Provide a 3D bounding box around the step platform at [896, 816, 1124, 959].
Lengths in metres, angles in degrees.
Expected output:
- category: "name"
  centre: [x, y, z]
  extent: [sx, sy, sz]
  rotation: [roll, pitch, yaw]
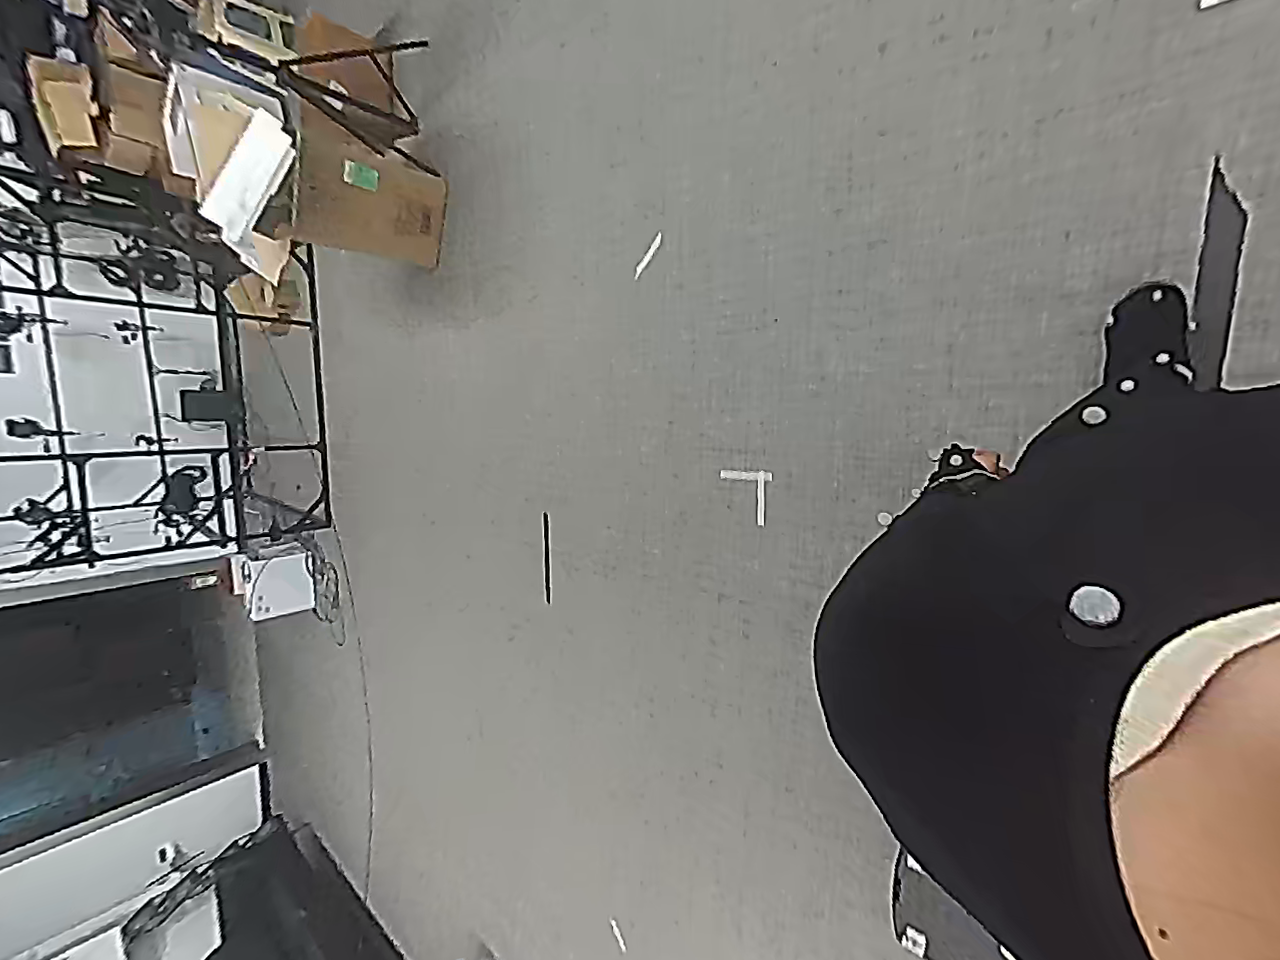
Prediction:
- category: "step platform"
  centre: [0.874, 0.991, 1.039]
  extent: [0.684, 0.204, 0.286]
  rotation: [14, 102, 42]
